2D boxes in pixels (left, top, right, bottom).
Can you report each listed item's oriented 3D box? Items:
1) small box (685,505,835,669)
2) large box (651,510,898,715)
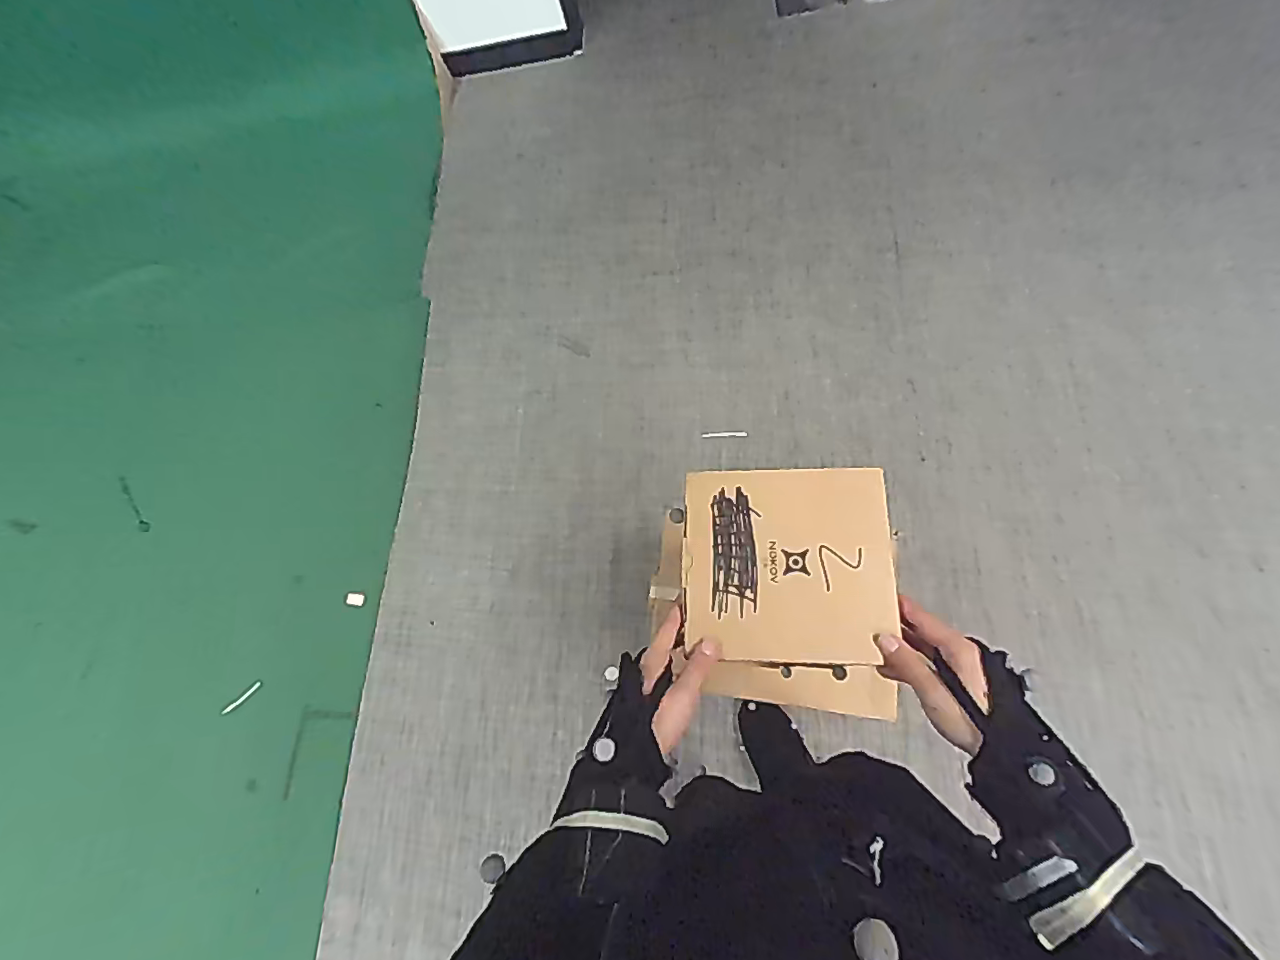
[{"bbox_3d":[0.151,0.141,0.691,0.168,0.176,0.179,2,72,10],"label":"small box"},{"bbox_3d":[0.250,0.258,1.066,0.408,0.320,0.320,4,74,11],"label":"large box"}]
